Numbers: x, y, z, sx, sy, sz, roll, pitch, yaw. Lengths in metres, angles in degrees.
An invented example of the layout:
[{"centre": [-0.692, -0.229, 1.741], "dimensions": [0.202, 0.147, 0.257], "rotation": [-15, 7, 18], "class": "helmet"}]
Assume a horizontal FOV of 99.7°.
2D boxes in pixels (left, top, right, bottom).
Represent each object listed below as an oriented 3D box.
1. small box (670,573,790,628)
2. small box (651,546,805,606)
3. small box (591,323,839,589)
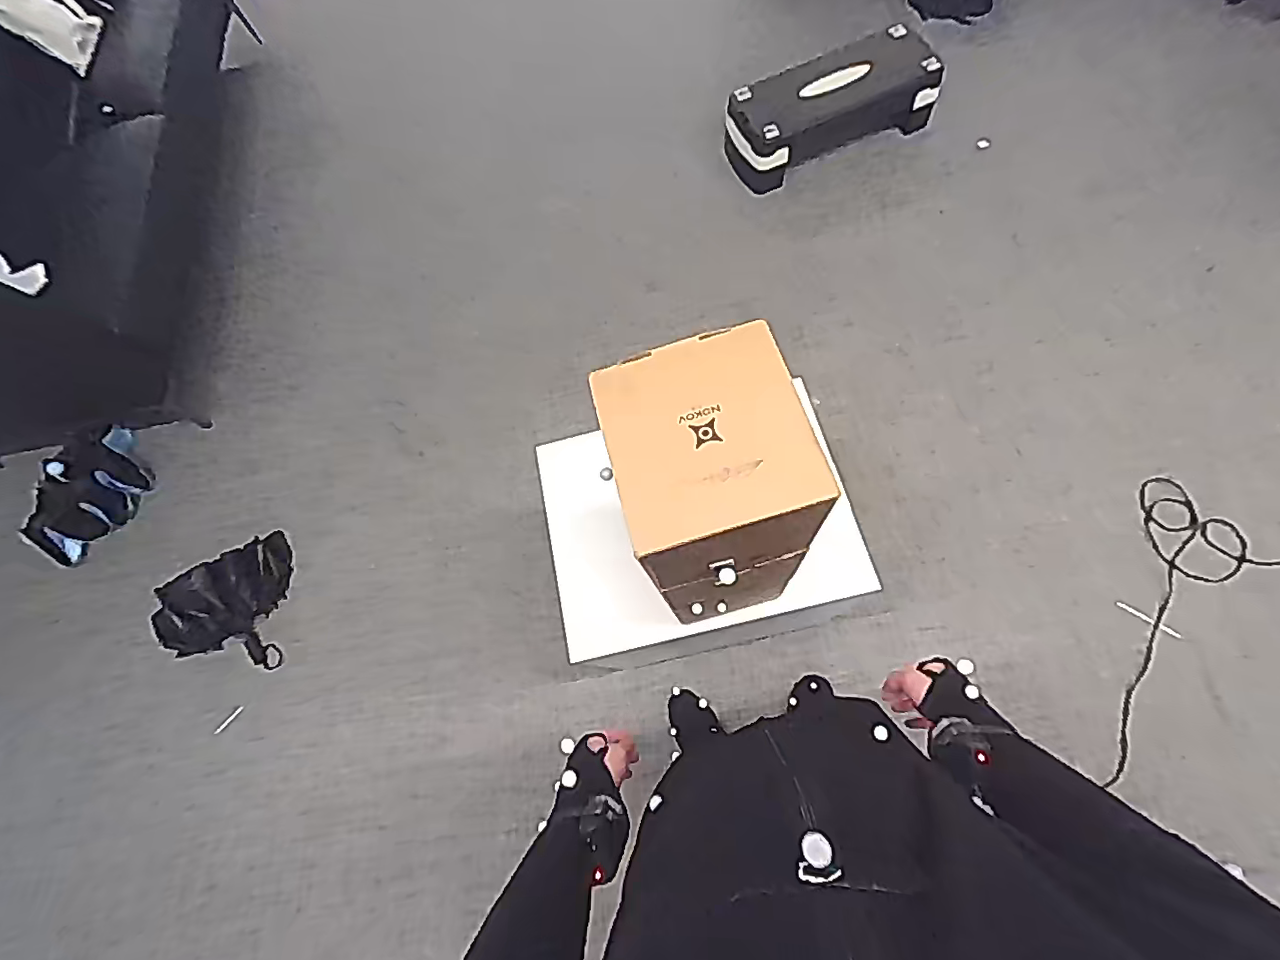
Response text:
[{"centre": [0.113, 0.109, 0.821], "dimensions": [0.168, 0.176, 0.179], "rotation": [-20, 66, 4], "class": "small box"}, {"centre": [0.088, 0.048, 0.669], "dimensions": [0.168, 0.176, 0.179], "rotation": [-17, 66, 2], "class": "small box"}, {"centre": [0.065, -0.012, 0.519], "dimensions": [0.168, 0.176, 0.179], "rotation": [-18, 67, 2], "class": "small box"}]
